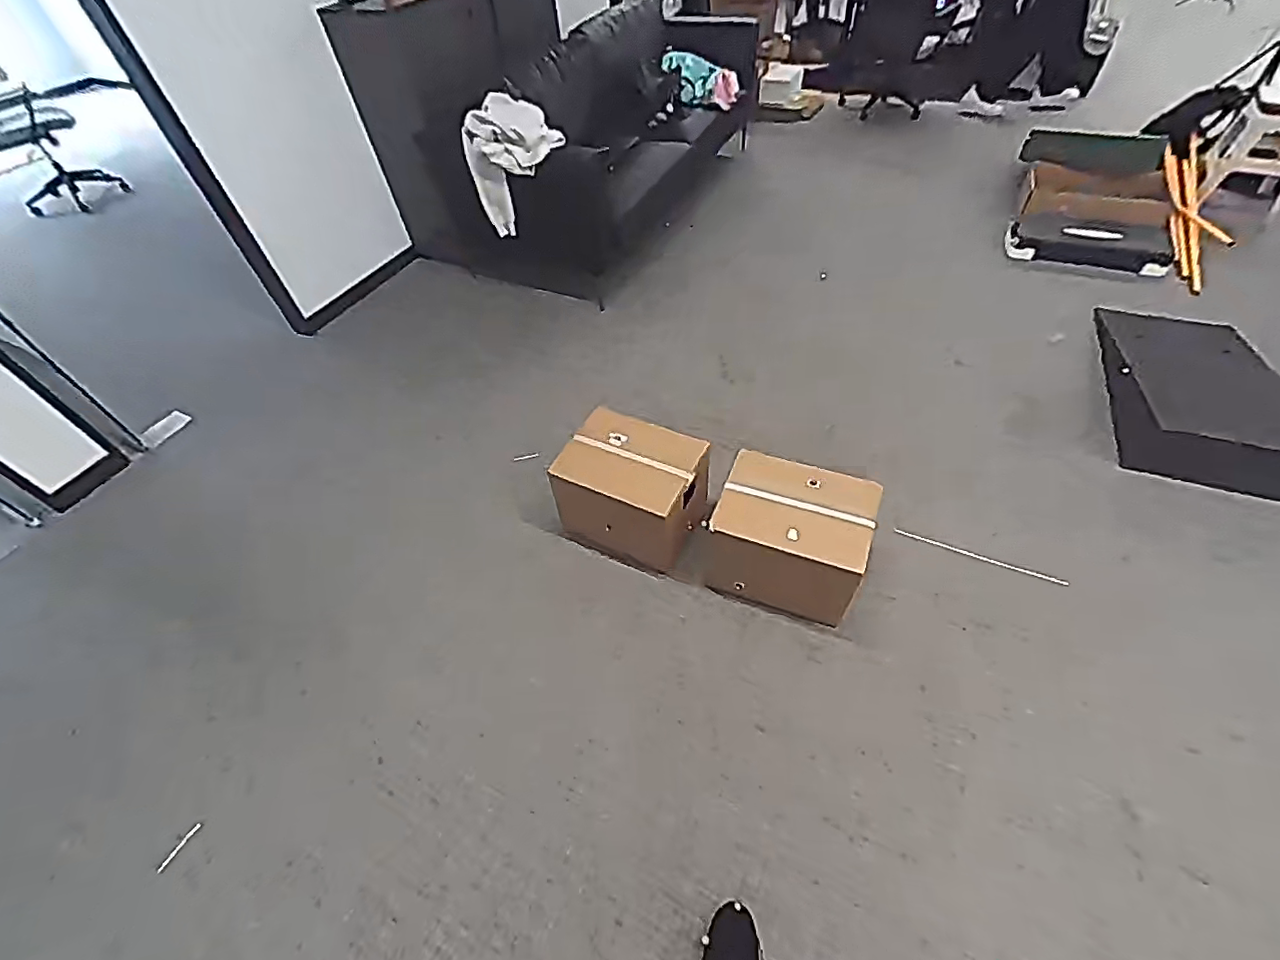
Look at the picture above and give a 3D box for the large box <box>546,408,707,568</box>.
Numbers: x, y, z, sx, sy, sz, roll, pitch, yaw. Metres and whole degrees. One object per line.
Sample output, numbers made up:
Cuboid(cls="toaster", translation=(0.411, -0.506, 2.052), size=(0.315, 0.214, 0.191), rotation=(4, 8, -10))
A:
Cuboid(cls="large box", translation=(-0.023, 0.025, 1.731), size=(0.408, 0.320, 0.320), rotation=(19, 54, 21))
